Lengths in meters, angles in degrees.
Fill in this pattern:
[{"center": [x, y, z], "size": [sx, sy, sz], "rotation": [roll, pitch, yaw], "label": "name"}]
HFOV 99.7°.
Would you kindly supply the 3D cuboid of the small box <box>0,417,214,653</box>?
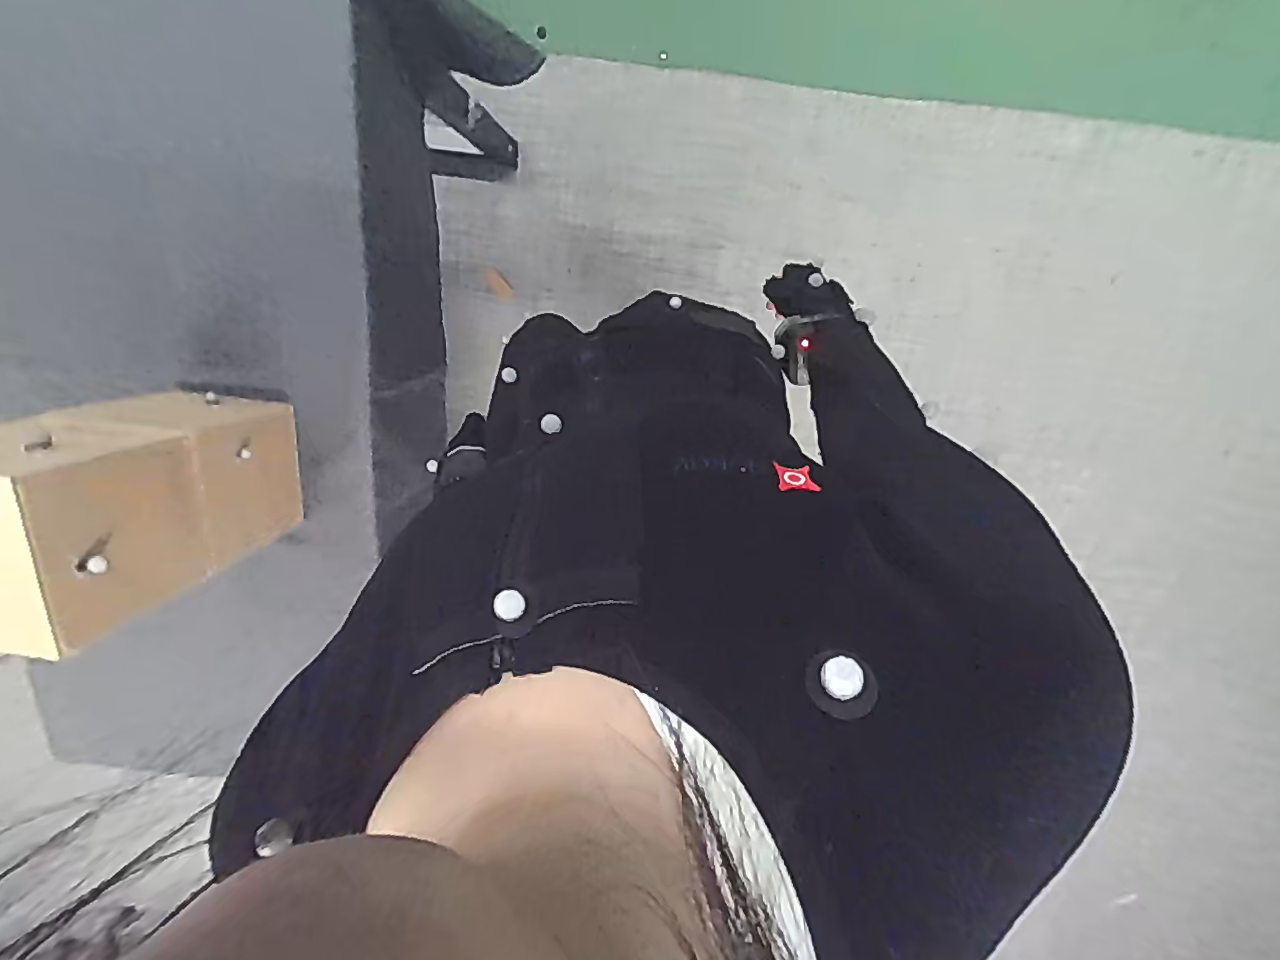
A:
[{"center": [-0.573, 0.041, 0.535], "size": [0.168, 0.176, 0.179], "rotation": [6, 108, 1], "label": "small box"}]
